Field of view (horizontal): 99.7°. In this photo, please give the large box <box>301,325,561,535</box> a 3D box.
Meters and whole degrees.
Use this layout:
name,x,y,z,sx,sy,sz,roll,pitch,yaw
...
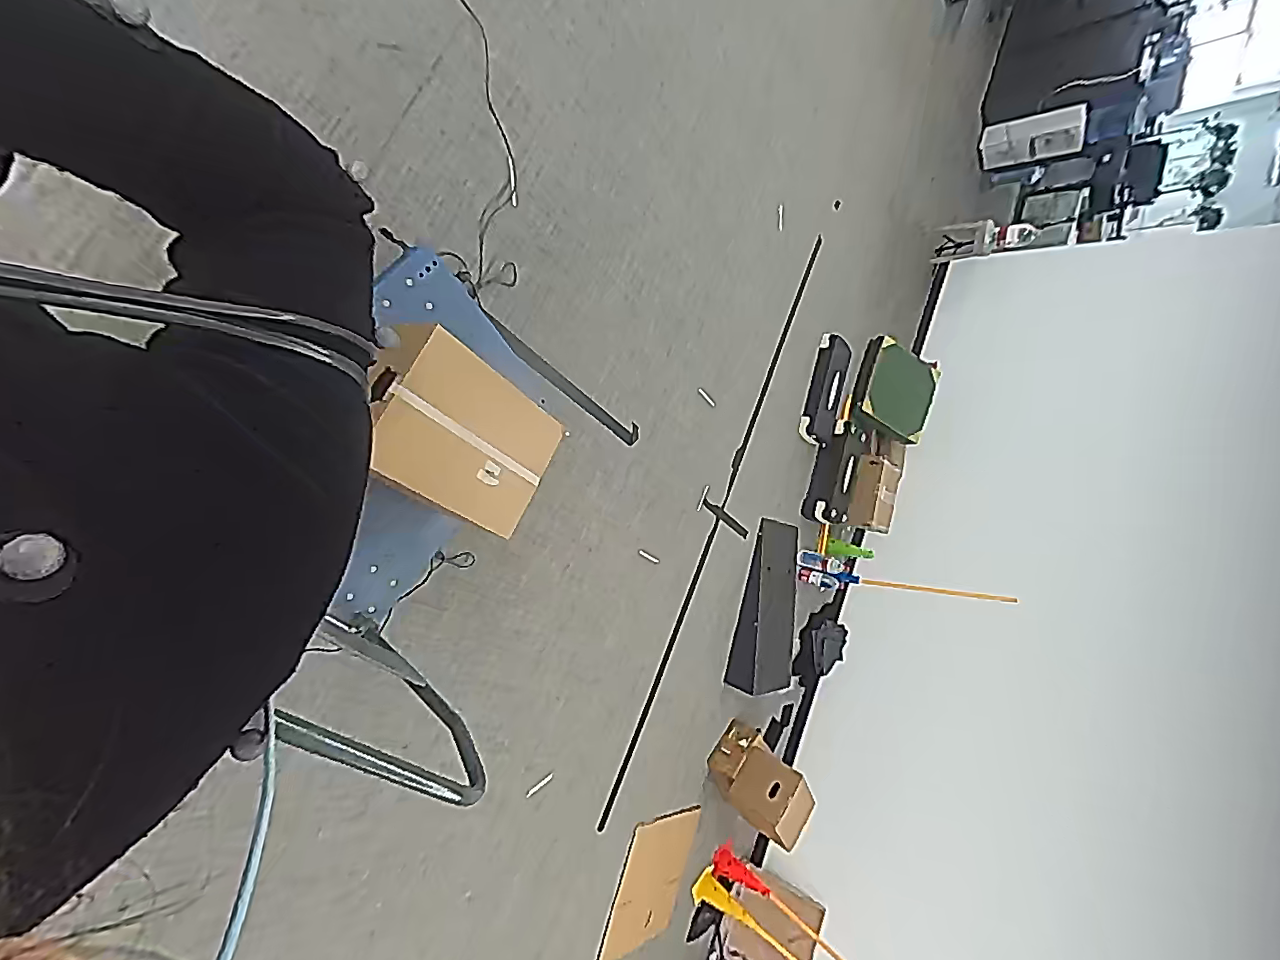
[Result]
name,x,y,z,sx,sy,sz,roll,pitch,yaw
large box,-0.473,-0.112,1.261,0.408,0.320,0.320,41,70,-46
